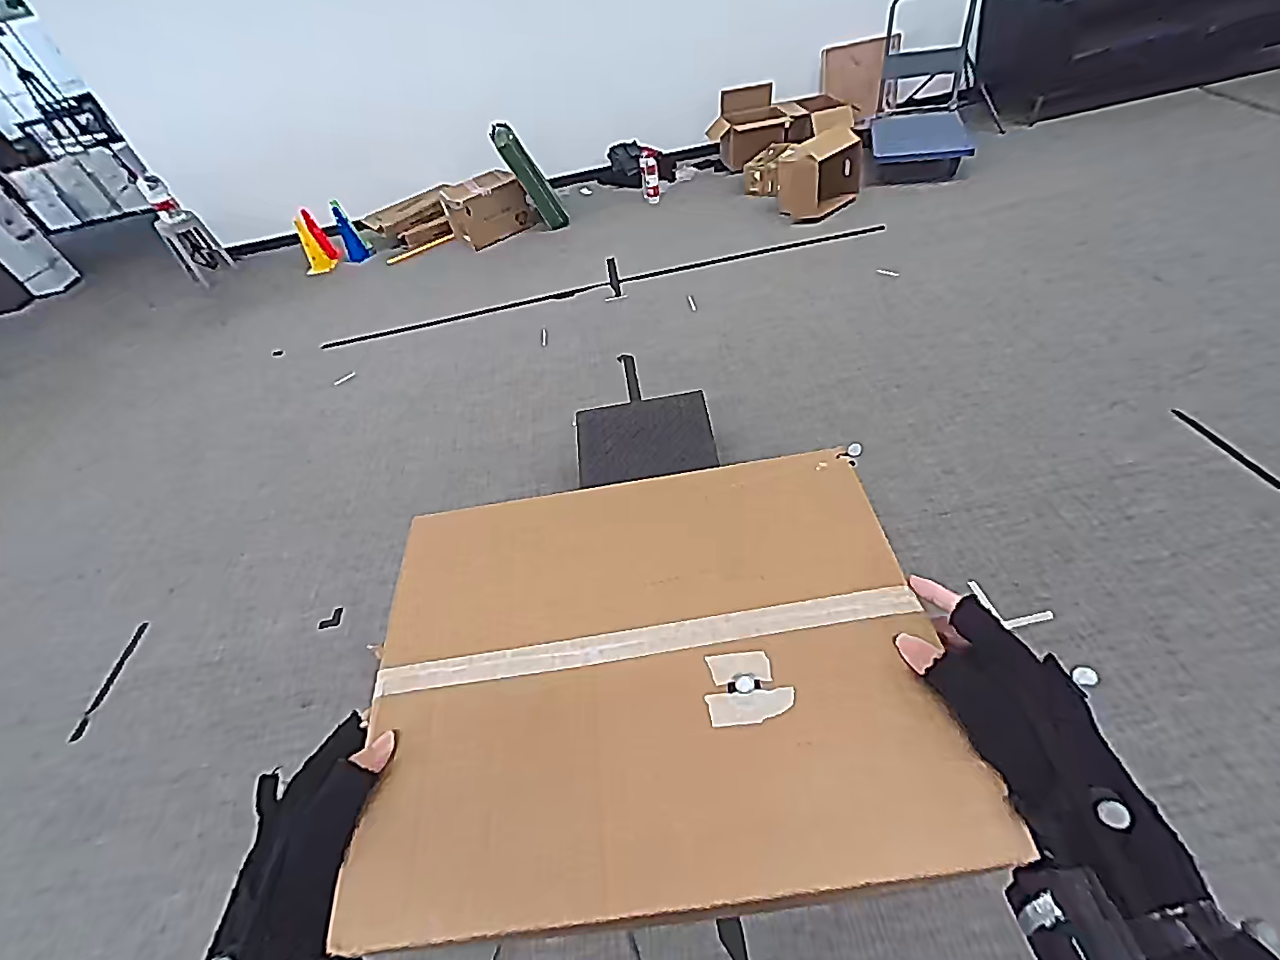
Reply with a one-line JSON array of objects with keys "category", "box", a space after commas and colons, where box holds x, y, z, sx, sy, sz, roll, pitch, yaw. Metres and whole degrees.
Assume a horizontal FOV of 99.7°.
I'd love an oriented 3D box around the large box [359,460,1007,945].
[{"category": "large box", "box": [0.024, 0.224, 0.529, 0.408, 0.320, 0.320, -9, 50, 2]}]
